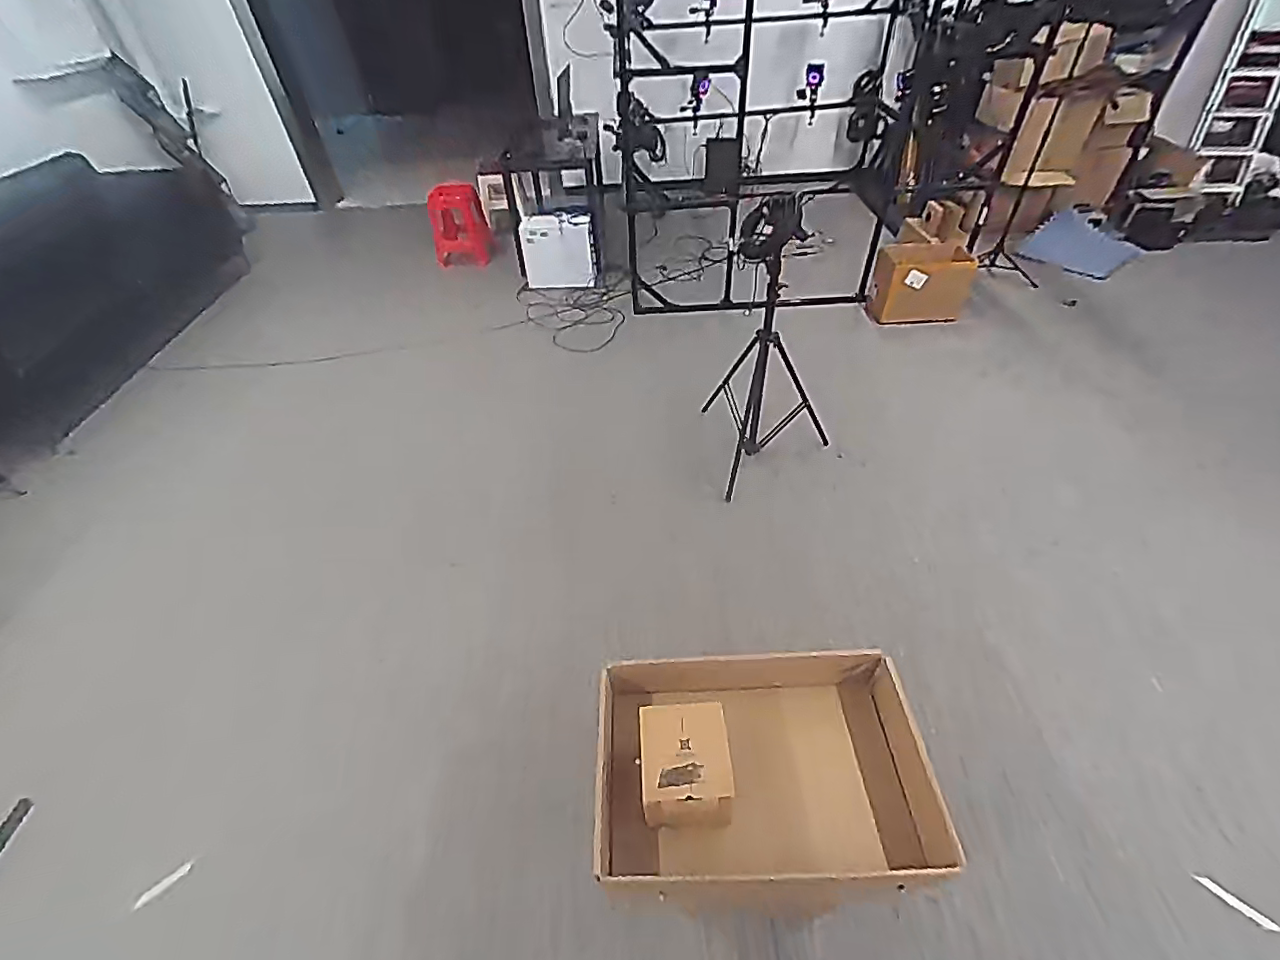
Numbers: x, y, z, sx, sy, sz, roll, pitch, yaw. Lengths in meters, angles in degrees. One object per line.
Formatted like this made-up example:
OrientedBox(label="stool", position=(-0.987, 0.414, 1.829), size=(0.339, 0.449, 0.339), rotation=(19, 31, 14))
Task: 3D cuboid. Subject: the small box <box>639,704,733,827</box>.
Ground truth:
OrientedBox(label="small box", position=(0.087, 0.563, 1.060), size=(0.168, 0.176, 0.179), rotation=(-4, 43, 1))
